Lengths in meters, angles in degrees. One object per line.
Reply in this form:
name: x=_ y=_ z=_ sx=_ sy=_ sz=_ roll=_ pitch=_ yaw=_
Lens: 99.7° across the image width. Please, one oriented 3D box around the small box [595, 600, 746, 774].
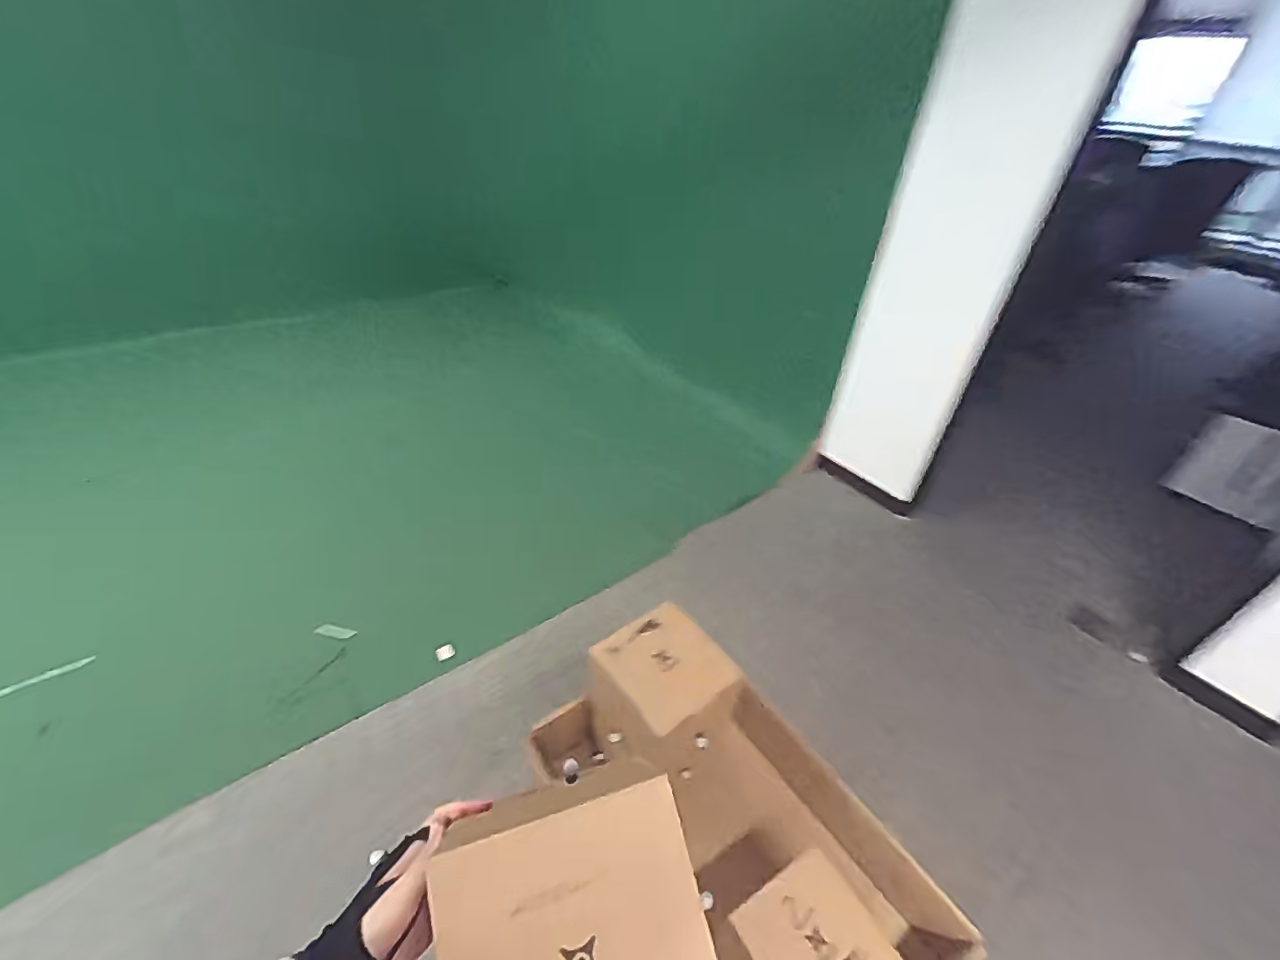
small box: x=0.042 y=0.336 z=0.867 sx=0.168 sy=0.176 sz=0.179 roll=-23 pitch=46 yaw=-29
